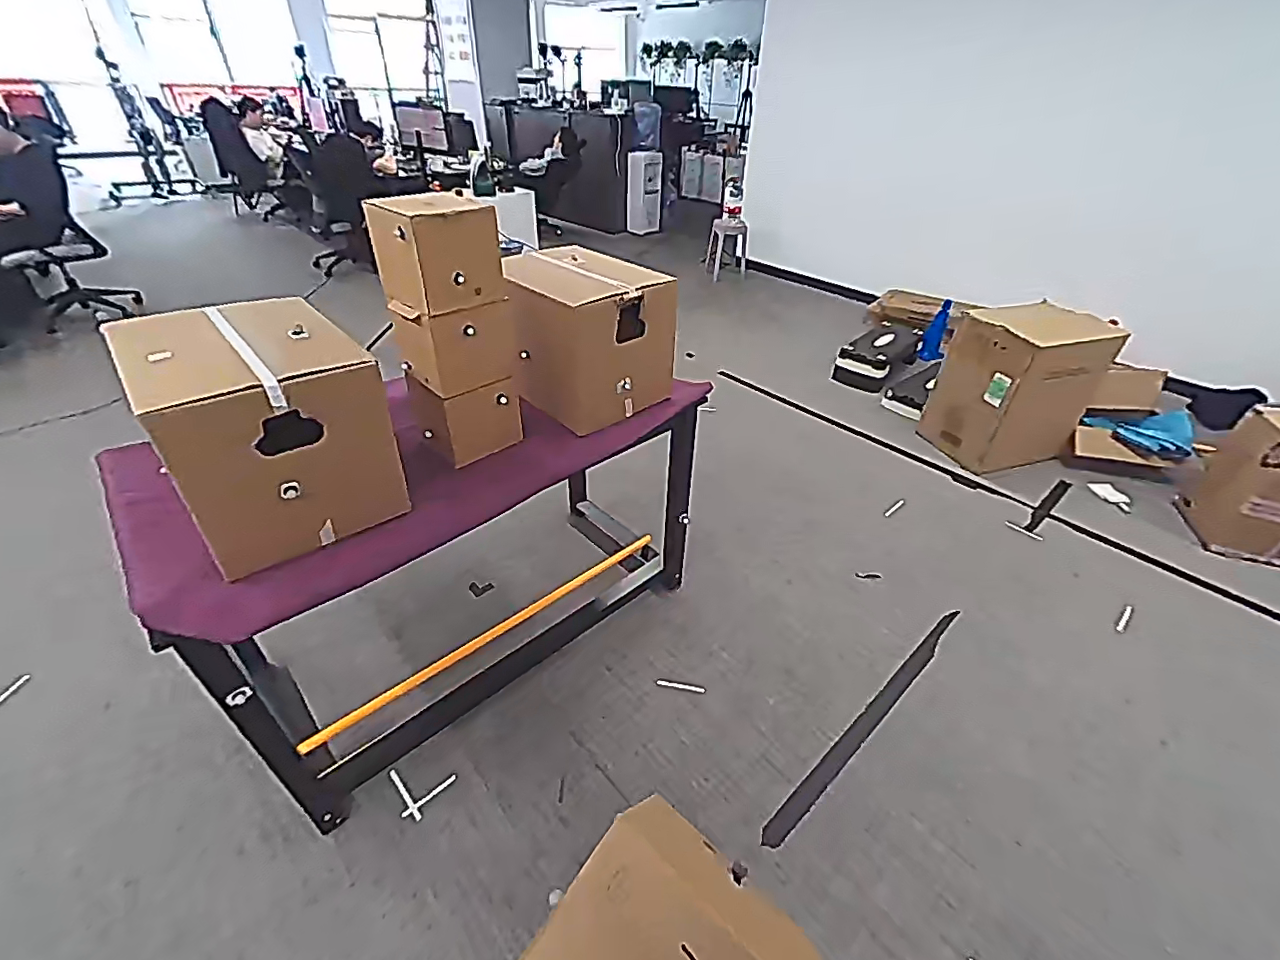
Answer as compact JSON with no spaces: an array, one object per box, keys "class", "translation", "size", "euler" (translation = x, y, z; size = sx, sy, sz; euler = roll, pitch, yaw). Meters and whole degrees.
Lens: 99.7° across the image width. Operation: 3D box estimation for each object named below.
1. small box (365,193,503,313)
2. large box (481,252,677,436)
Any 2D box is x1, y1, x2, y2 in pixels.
[{"class":"small box","translation":[-0.378,-0.425,1.008],"size":[0.179,0.176,0.168],"euler":[30,44,32]},{"class":"large box","translation":[-0.155,-0.359,1.369],"size":[0.320,0.320,0.408],"euler":[-28,44,-35]}]
